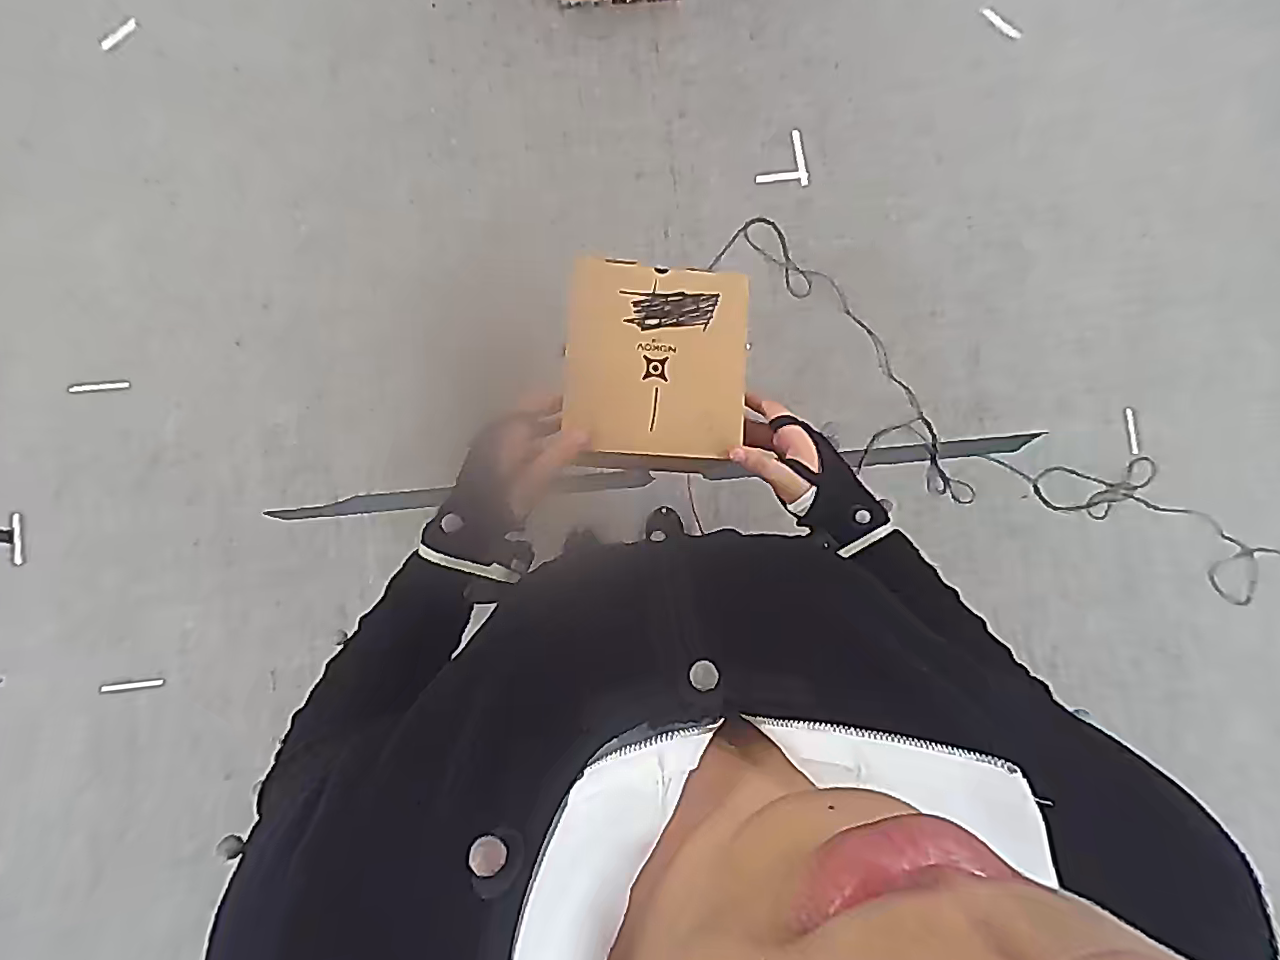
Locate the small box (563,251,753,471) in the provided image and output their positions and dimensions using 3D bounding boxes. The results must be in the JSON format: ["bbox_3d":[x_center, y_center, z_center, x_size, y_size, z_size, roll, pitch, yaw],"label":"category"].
[{"bbox_3d":[0.009,-0.107,0.560,0.168,0.176,0.179,3,86,-6],"label":"small box"}]
